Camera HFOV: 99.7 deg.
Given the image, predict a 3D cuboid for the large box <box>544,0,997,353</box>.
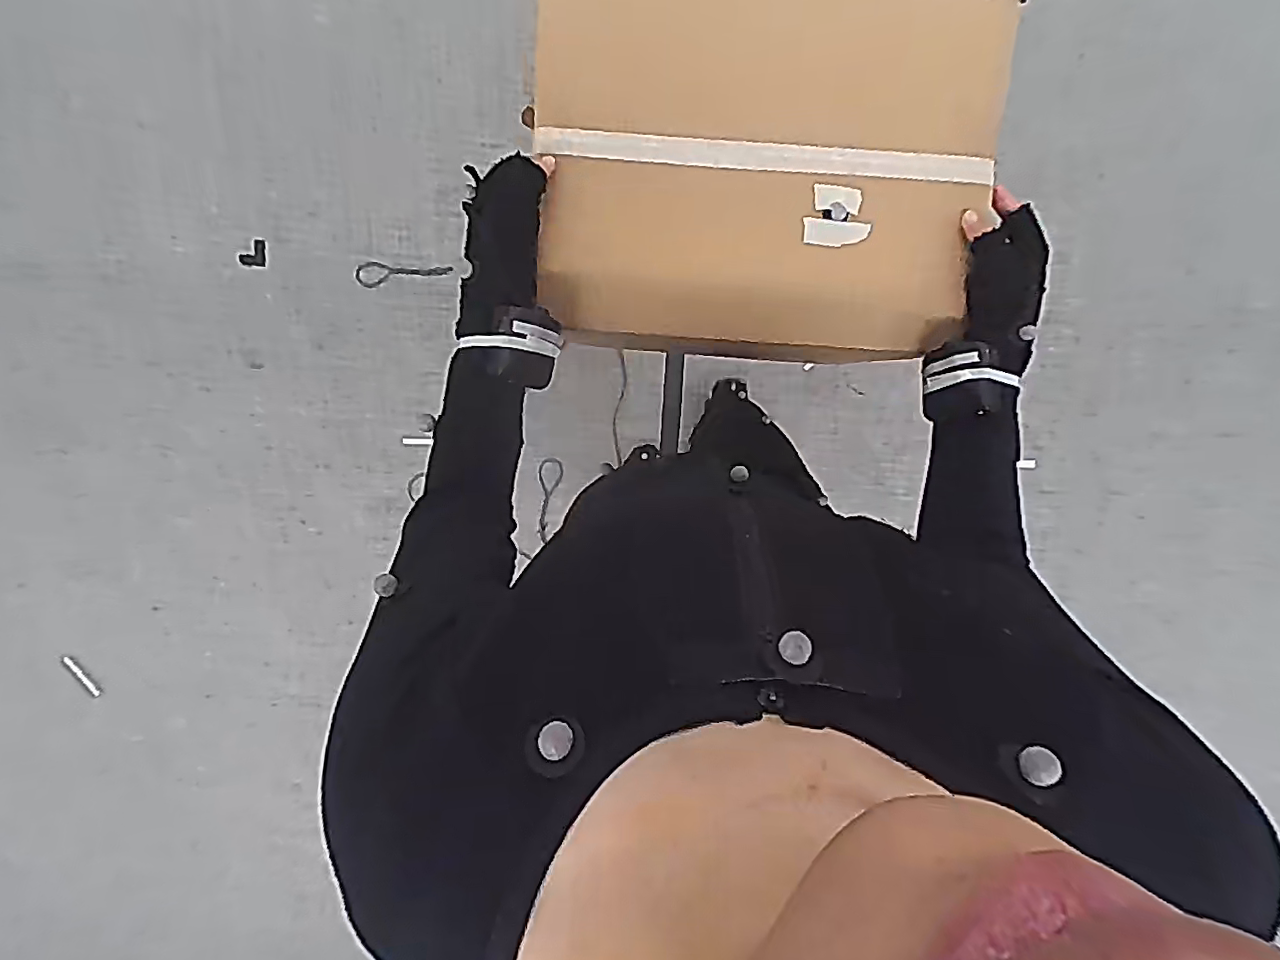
[{"bbox_3d":[0.108,-0.325,0.643,0.408,0.320,0.320,3,101,-2],"label":"large box"}]
